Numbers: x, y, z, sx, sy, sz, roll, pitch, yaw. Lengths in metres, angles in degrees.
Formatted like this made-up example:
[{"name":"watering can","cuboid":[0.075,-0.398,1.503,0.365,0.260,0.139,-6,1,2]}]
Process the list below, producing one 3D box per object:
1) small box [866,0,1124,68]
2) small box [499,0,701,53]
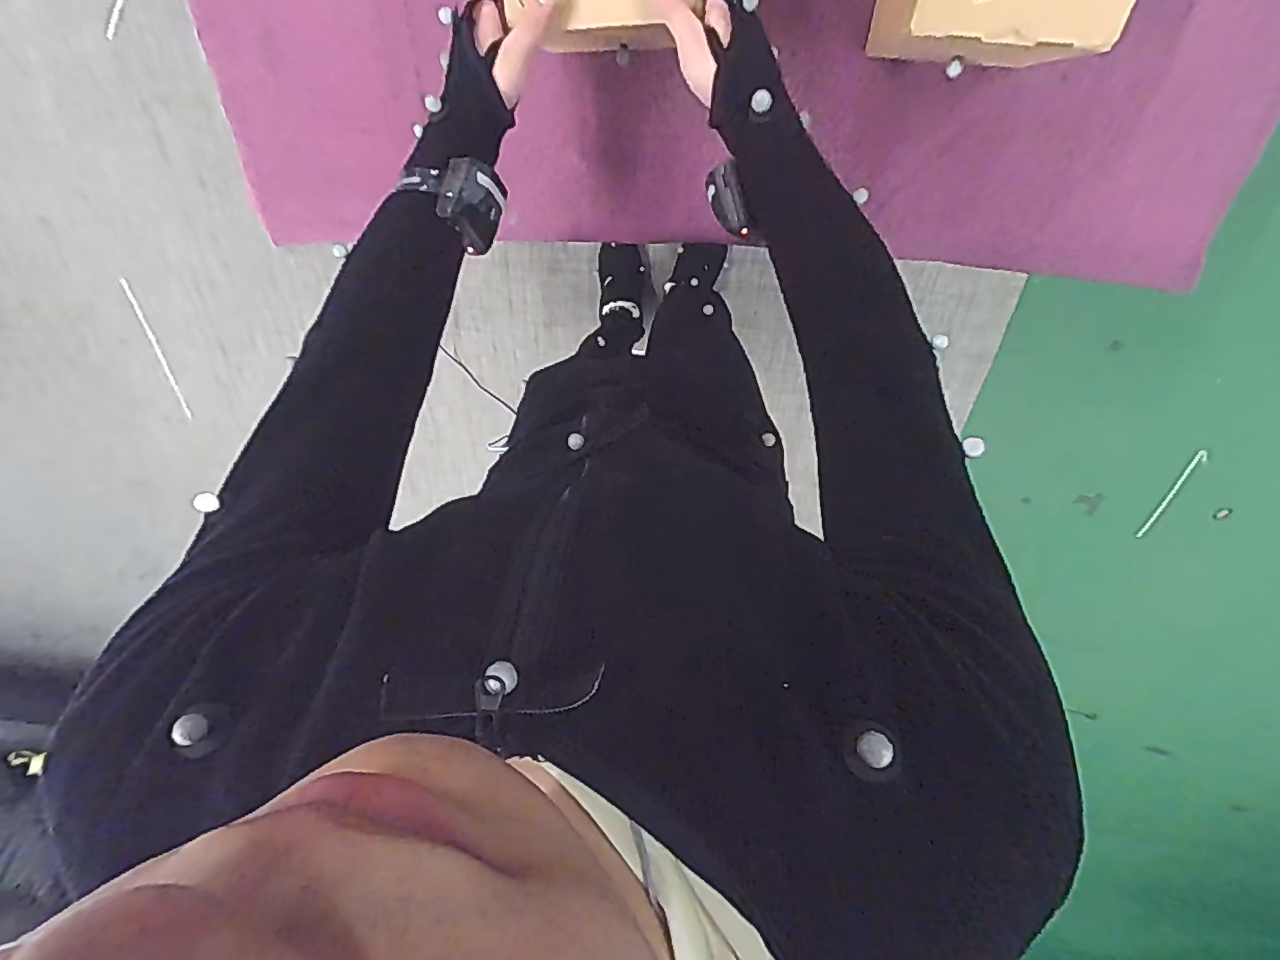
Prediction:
[{"name":"small box","cuboid":[0.313,-0.478,0.465,0.168,0.176,0.179,8,124,4]},{"name":"small box","cuboid":[-0.030,-0.505,0.494,0.179,0.176,0.168,2,123,6]}]
